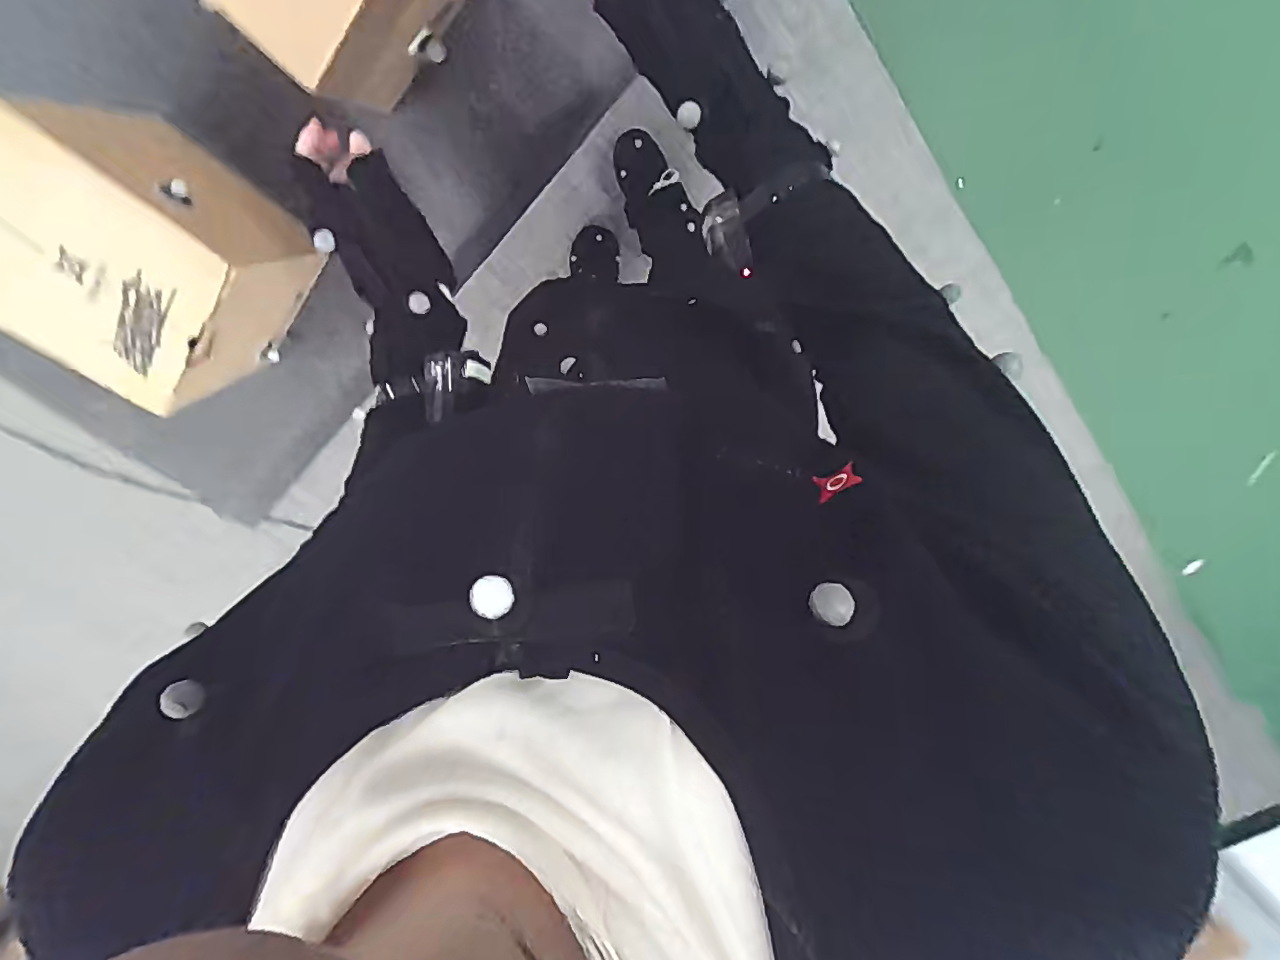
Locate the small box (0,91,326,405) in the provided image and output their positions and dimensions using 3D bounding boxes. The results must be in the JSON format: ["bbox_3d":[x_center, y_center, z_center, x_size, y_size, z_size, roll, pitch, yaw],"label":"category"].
[{"bbox_3d":[-0.432,-0.205,0.494,0.179,0.176,0.168,37,111,-18],"label":"small box"}]

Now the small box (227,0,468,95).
[{"bbox_3d":[-0.234,-0.419,0.390,0.179,0.176,0.168,39,112,-22],"label":"small box"}]
